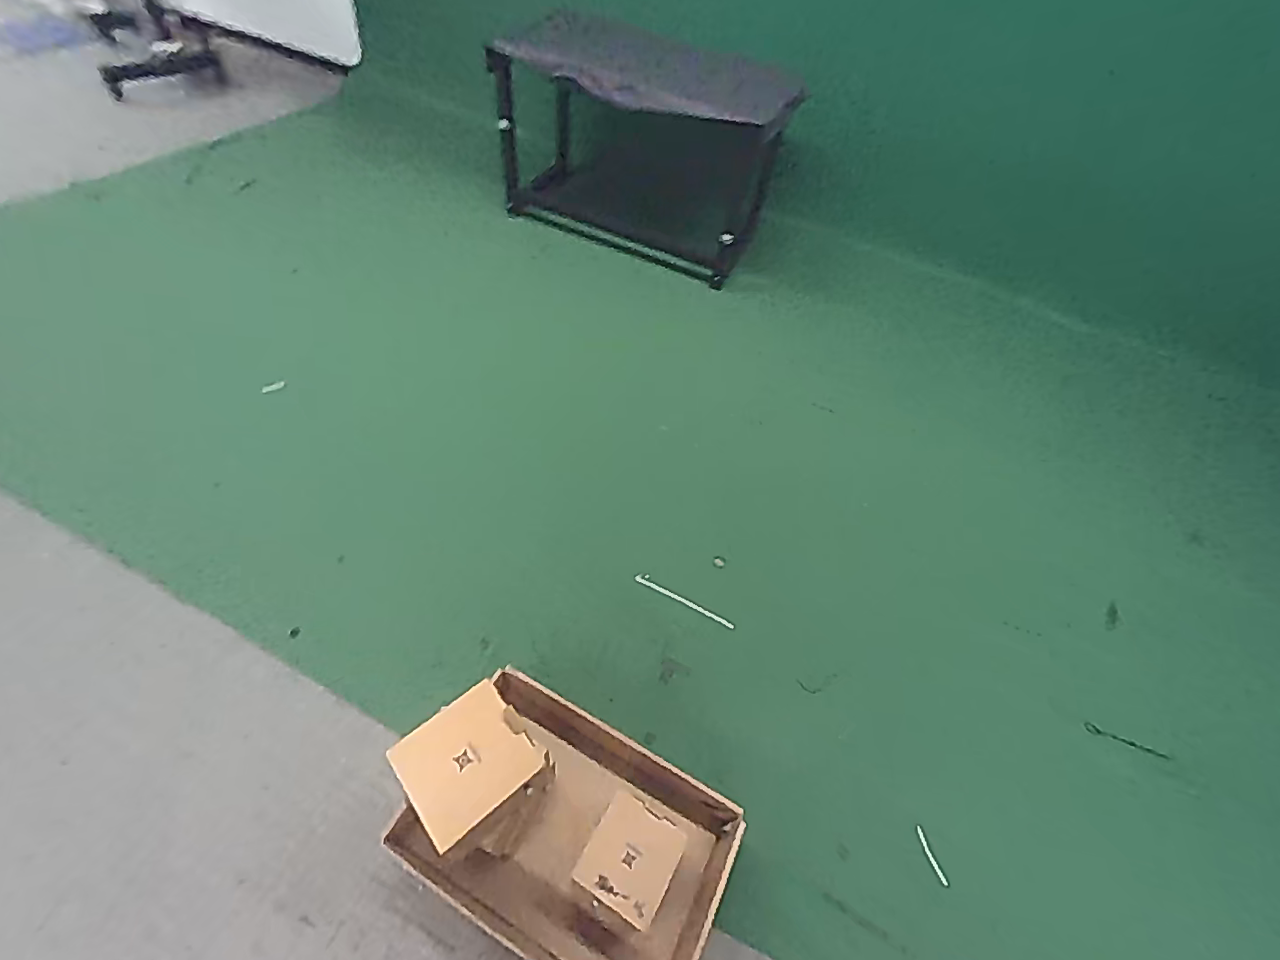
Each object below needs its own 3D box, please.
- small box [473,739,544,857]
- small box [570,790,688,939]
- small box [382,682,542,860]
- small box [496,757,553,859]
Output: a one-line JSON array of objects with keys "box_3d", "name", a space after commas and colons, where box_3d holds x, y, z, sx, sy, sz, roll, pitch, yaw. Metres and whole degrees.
[{"box_3d": [-0.286, 0.553, 0.985, 0.168, 0.176, 0.179, 26, 53, 11], "name": "small box"}, {"box_3d": [-0.028, 0.759, 1.074, 0.168, 0.176, 0.179, 29, 54, 15], "name": "small box"}, {"box_3d": [-0.268, 0.461, 0.852, 0.179, 0.176, 0.168, -32, 63, -29], "name": "small box"}, {"box_3d": [-0.295, 0.647, 1.118, 0.168, 0.176, 0.179, 25, 52, 11], "name": "small box"}]
